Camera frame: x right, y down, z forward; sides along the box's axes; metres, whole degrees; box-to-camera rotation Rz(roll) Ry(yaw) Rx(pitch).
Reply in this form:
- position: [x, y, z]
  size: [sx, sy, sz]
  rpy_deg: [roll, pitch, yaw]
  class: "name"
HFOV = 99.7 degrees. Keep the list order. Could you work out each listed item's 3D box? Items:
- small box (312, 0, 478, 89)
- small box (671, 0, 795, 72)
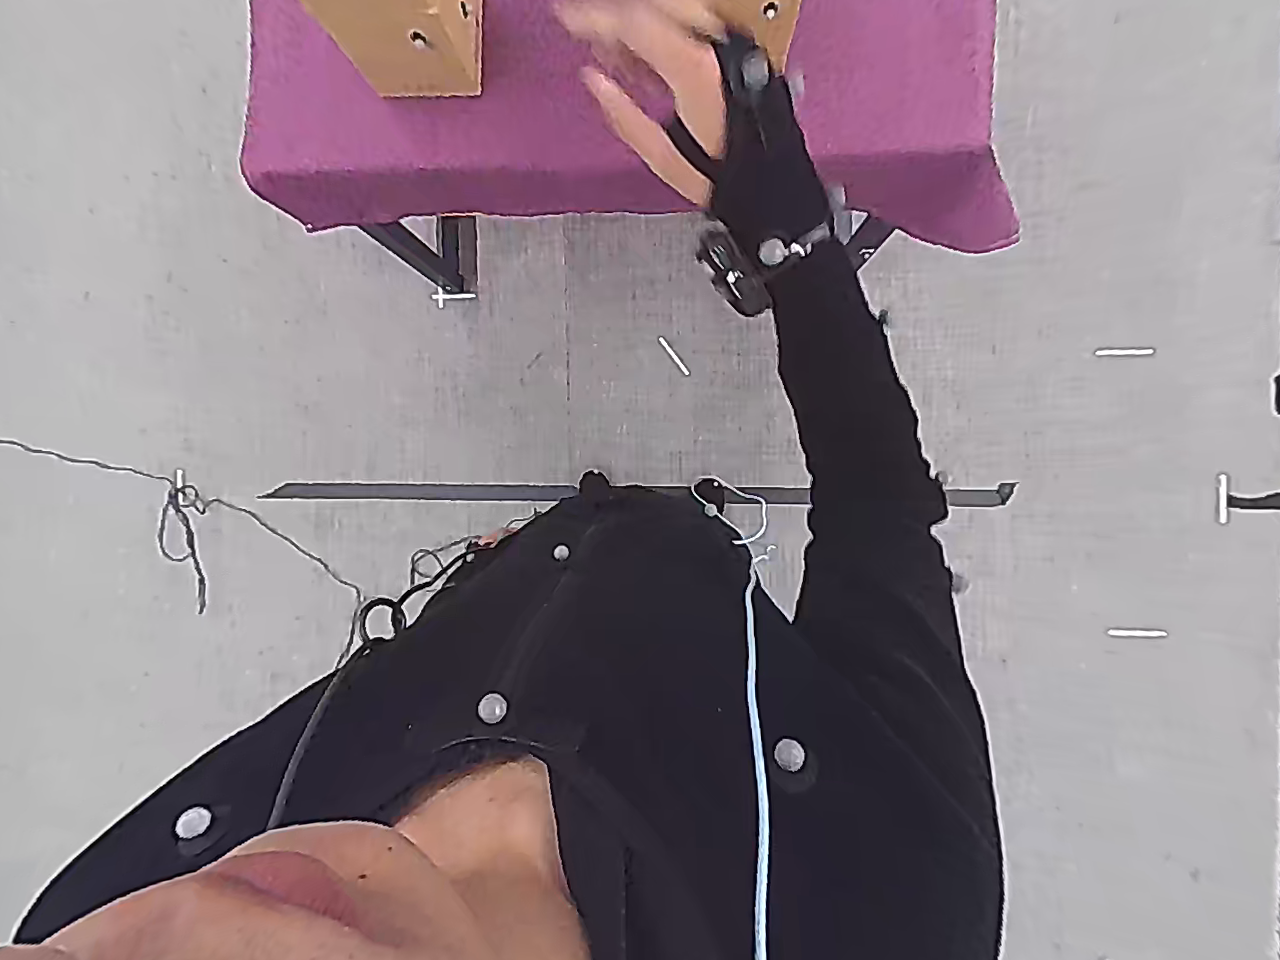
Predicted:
- position: [-0.355, -0.724, 0.811]
  size: [0.179, 0.176, 0.168]
  rpy_deg: [2, 92, 3]
  class: "small box"
- position: [0.133, -0.729, 0.782]
  size: [0.179, 0.176, 0.168]
  rpy_deg: [1, 92, 3]
  class: "small box"
